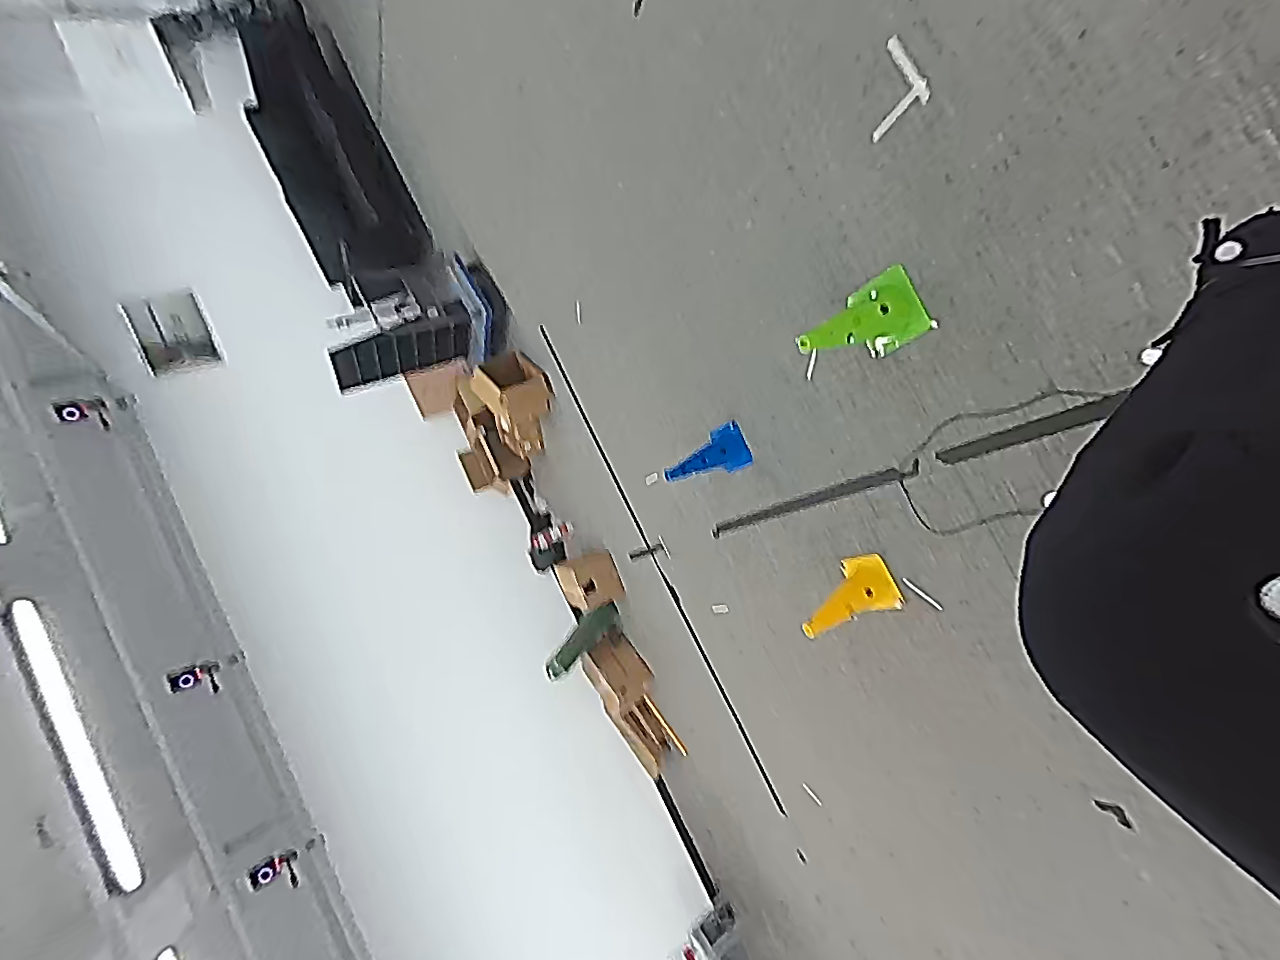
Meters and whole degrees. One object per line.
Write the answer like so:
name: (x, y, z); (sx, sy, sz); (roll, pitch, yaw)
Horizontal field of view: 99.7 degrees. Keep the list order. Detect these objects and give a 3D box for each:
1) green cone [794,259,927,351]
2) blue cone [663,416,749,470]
green cone: (0.556, -0.429, 1.452); (0.202, 0.368, 0.200); (65, 153, 4)
blue cone: (0.258, -0.111, 2.261); (0.193, 0.380, 0.192); (-24, 90, 62)
